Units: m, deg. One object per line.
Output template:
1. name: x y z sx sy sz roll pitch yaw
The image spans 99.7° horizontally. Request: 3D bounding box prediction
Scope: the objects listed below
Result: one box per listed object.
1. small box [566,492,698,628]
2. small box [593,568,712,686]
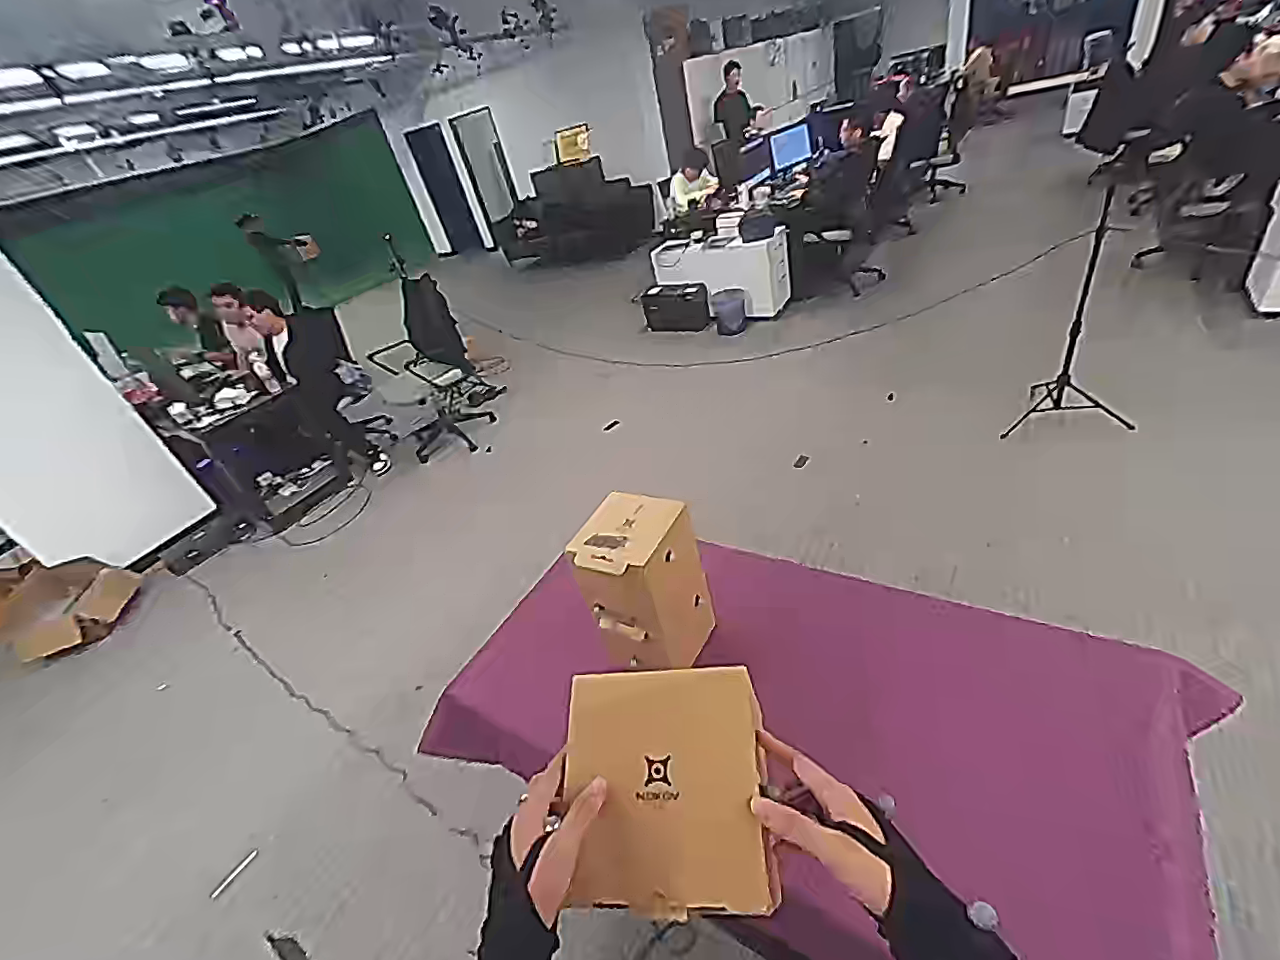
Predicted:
1. small box: -0.004 0.147 1.007 0.168 0.176 0.179 7 40 30
2. small box: 0.035 0.278 1.099 0.168 0.176 0.179 10 43 33
